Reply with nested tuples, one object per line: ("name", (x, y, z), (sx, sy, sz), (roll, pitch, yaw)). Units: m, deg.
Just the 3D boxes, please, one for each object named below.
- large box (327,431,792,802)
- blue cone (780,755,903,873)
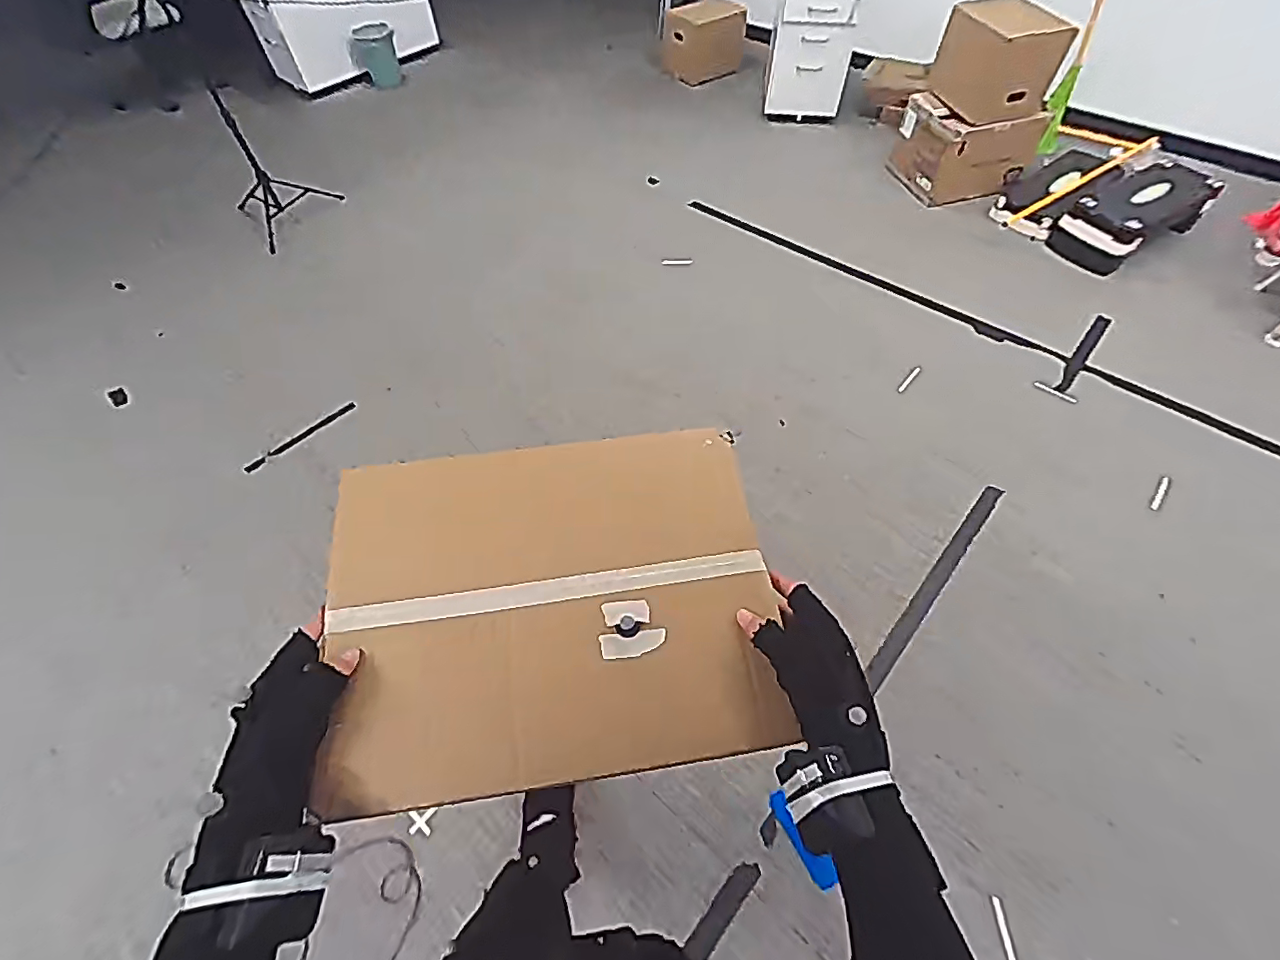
("large box", (-0.086, 0.173, 0.654), (0.408, 0.320, 0.320), (-7, 63, -5))
("blue cone", (0.430, 0.661, 1.084), (0.192, 0.380, 0.193), (-24, 59, -14))
